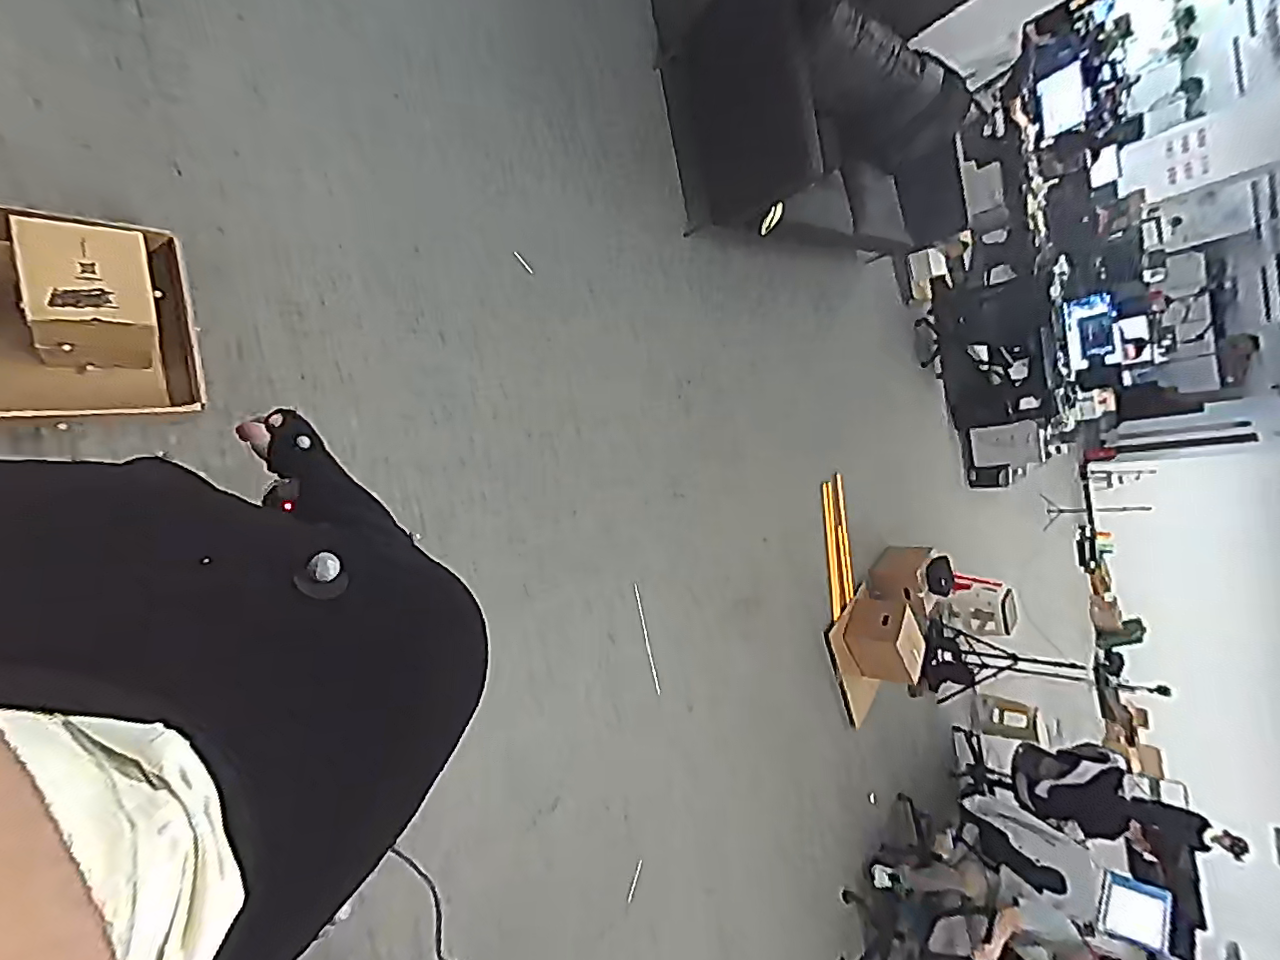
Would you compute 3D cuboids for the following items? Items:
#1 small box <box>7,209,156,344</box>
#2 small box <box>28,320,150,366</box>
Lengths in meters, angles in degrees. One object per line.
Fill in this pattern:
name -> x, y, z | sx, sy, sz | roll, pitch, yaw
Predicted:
small box -> -1.011, -0.358, 0.993 | 0.168, 0.176, 0.179 | -9, 90, -42
small box -> -1.128, -0.343, 1.108 | 0.168, 0.176, 0.179 | -9, 92, -42
